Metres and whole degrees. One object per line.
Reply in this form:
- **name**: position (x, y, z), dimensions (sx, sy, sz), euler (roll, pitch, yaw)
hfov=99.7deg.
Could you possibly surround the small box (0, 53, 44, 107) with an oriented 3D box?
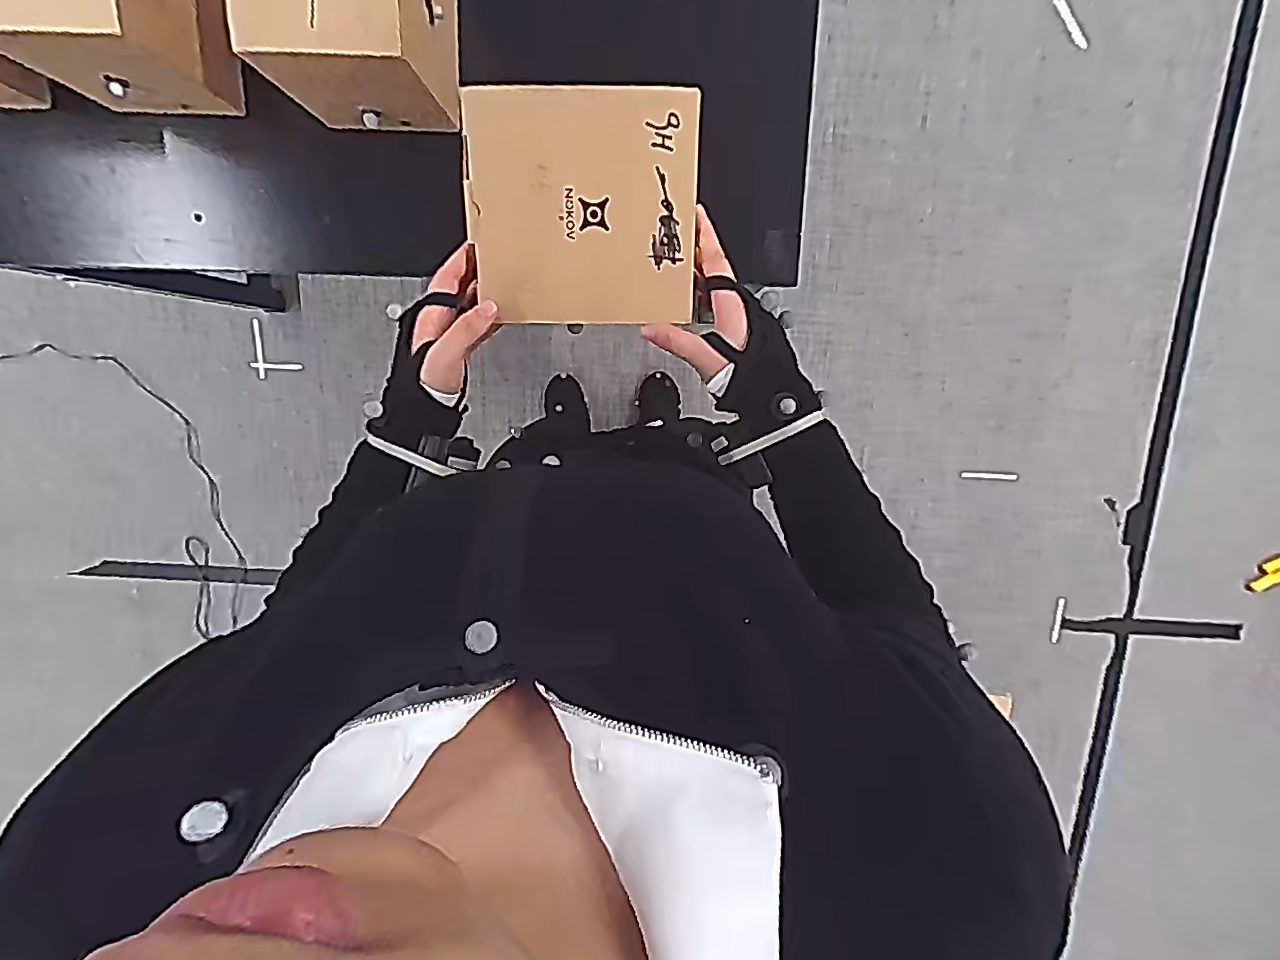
- **small box**: position (-0.805, -0.530, 0.575), dimensions (0.168, 0.176, 0.179), euler (1, 100, -1)

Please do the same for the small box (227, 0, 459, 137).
- **small box**: position (-0.301, -0.501, 0.577), dimensions (0.168, 0.176, 0.179), euler (2, 101, 0)

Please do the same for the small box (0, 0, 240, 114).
- **small box**: position (-0.566, -0.521, 0.573), dimensions (0.168, 0.176, 0.179), euler (2, 101, -1)

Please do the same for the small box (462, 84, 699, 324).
- **small box**: position (-0.044, -0.232, 0.491), dimensions (0.179, 0.176, 0.168), euler (1, 109, 0)
